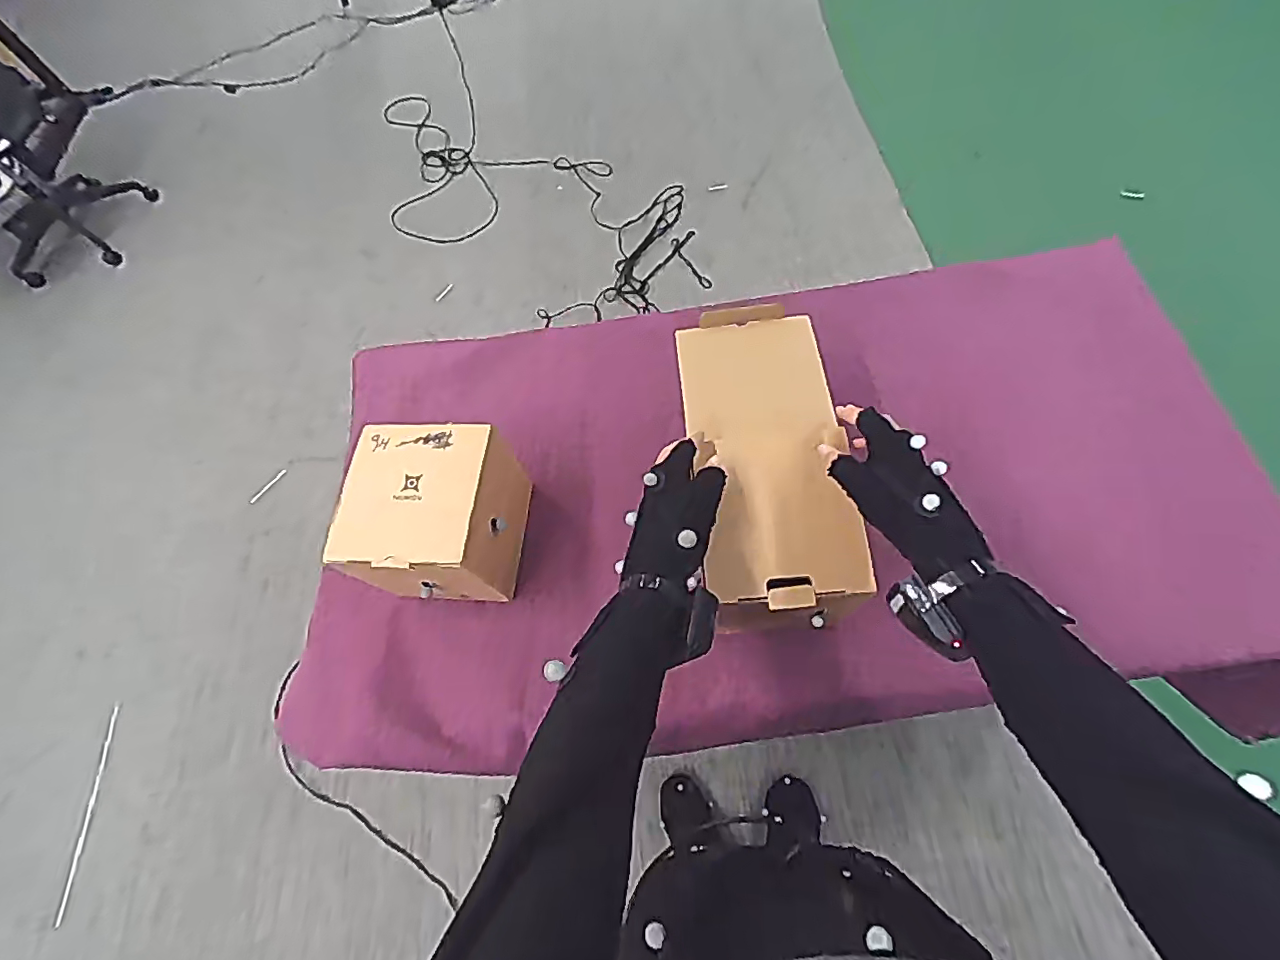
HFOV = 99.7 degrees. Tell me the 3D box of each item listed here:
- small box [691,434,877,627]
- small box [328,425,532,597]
[{"bbox_3d":[0.150,0.069,0.622,0.168,0.176,0.179,-5,64,5],"label":"small box"},{"bbox_3d":[-0.247,0.046,0.688,0.168,0.176,0.179,1,66,8],"label":"small box"}]
